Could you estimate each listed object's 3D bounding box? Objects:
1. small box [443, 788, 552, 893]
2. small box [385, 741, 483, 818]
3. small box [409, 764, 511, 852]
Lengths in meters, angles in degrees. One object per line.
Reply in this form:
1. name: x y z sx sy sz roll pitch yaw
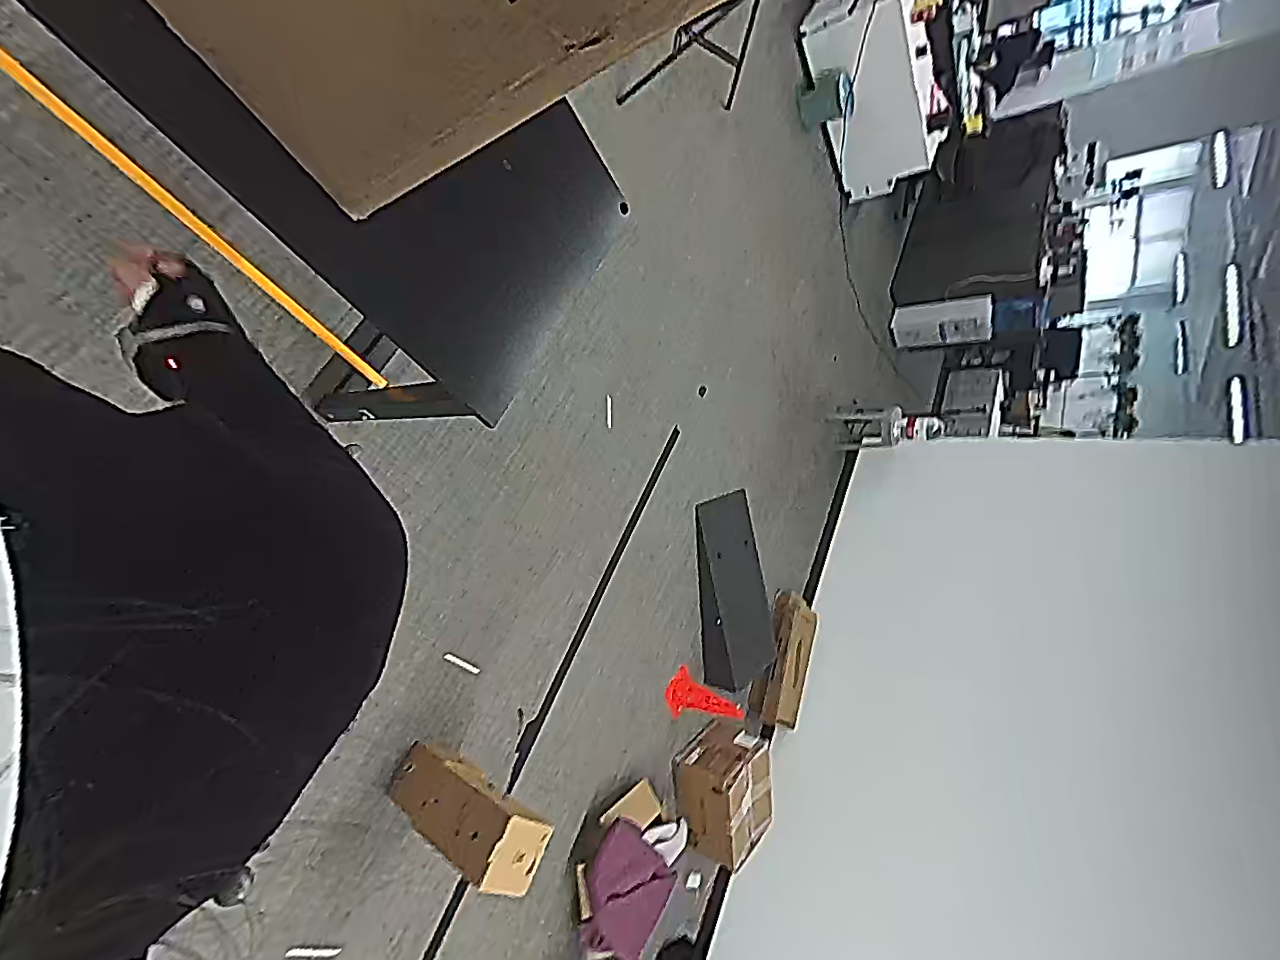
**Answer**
1. small box: -0.370 0.924 1.397 0.179 0.176 0.168 50 56 -40
2. small box: -0.615 0.906 1.617 0.179 0.176 0.168 48 57 -40
3. small box: -0.496 0.917 1.503 0.179 0.176 0.168 50 56 -40
